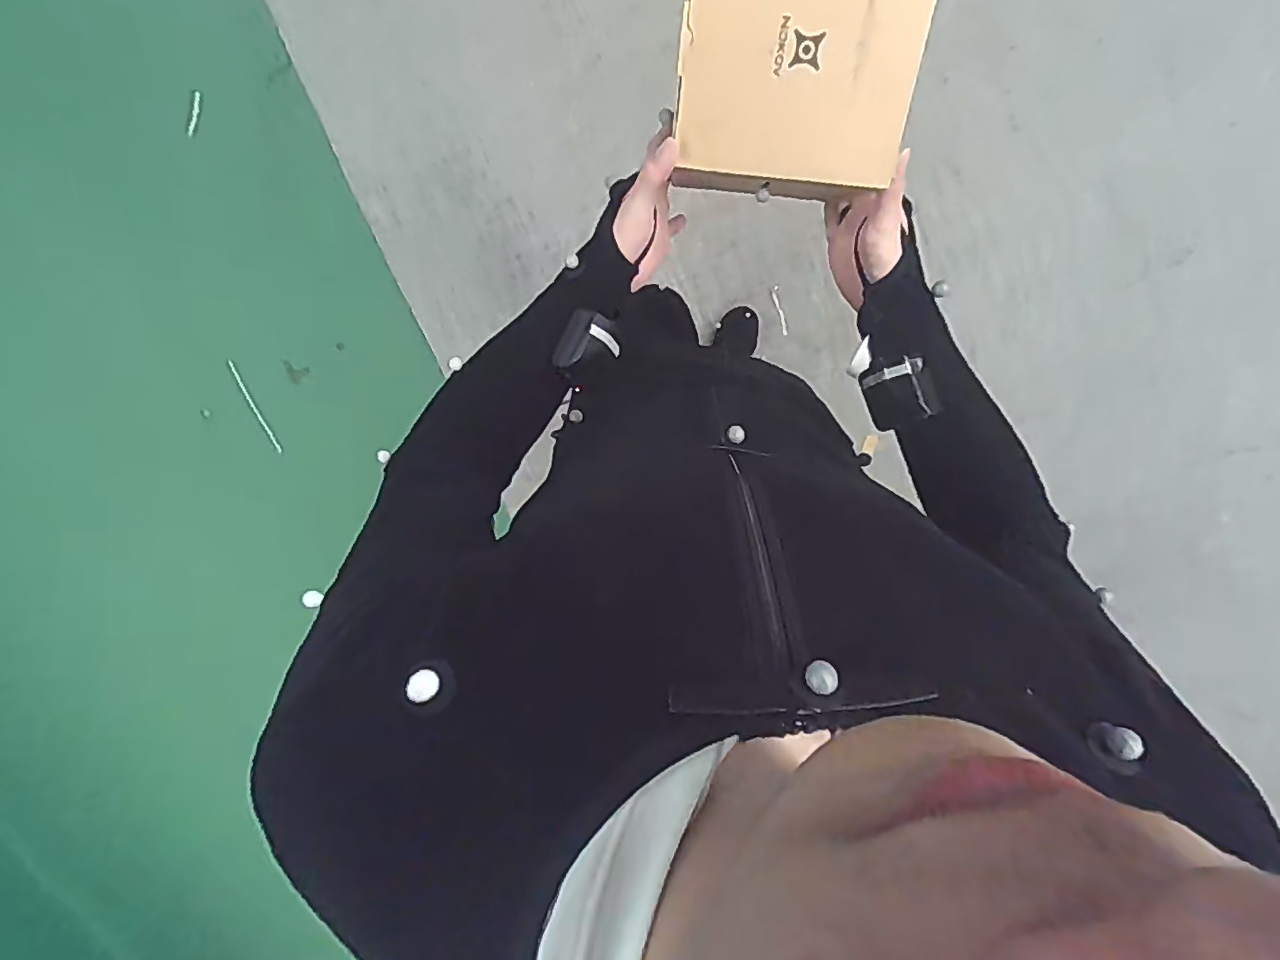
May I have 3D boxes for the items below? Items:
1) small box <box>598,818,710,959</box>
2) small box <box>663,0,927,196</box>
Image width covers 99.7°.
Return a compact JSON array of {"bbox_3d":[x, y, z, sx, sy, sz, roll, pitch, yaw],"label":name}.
[{"bbox_3d":[0.038,0.839,1.115,0.179,0.176,0.168,-19,105,14],"label":"small box"},{"bbox_3d":[0.119,-0.350,0.468,0.179,0.176,0.168,7,115,1],"label":"small box"}]
